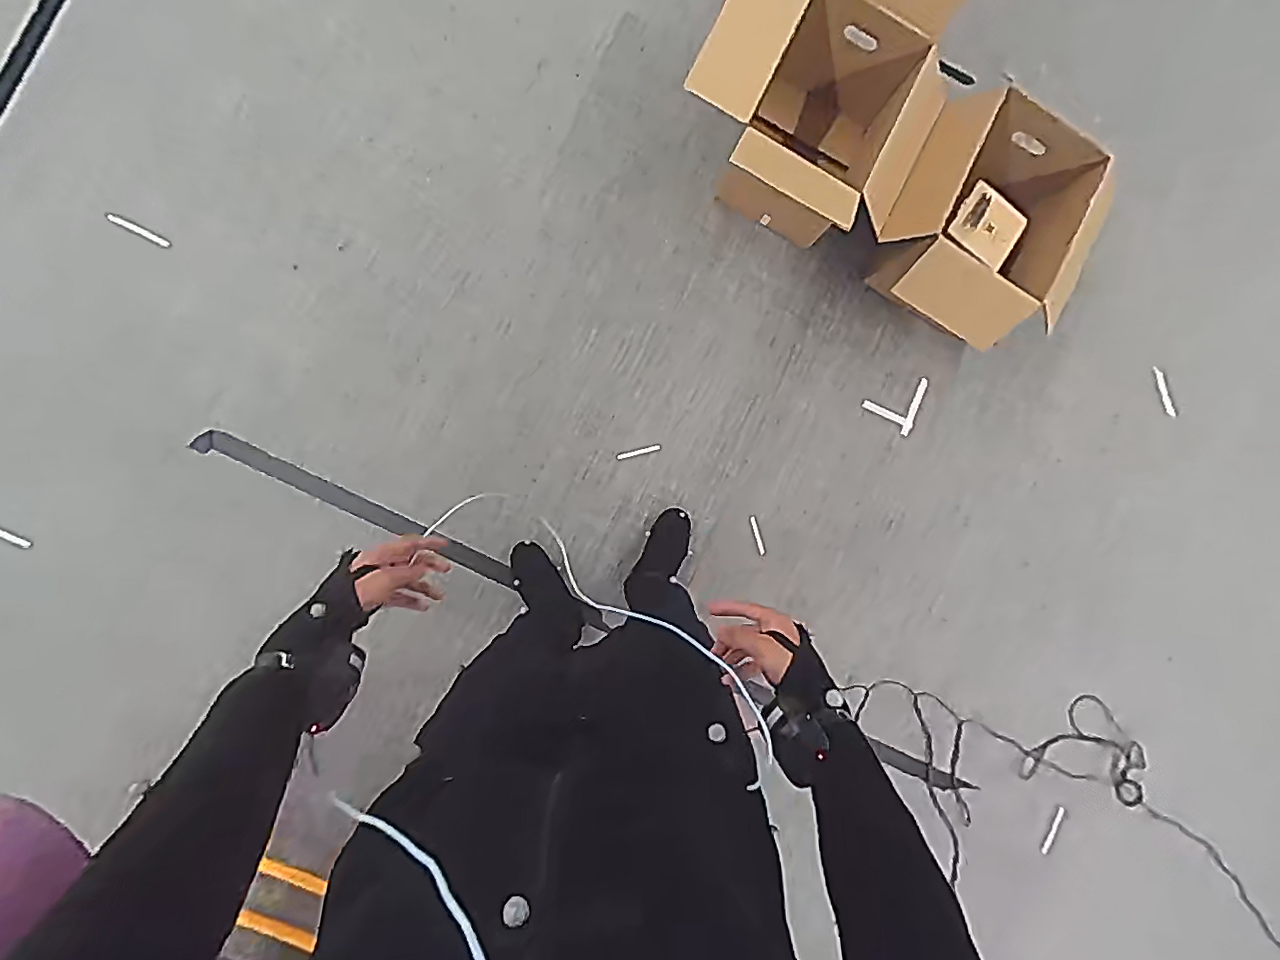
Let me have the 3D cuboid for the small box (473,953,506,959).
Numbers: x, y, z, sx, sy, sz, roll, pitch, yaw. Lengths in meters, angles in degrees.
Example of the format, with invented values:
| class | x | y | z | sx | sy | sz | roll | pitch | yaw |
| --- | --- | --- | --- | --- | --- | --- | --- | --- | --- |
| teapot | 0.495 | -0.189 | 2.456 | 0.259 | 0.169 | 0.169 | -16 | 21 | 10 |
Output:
| class | x | y | z | sx | sy | sz | roll | pitch | yaw |
| --- | --- | --- | --- | --- | --- | --- | --- | --- | --- |
| small box | -0.331 | 1.217 | 1.202 | 0.179 | 0.176 | 0.168 | 23 | 87 | -3 |
